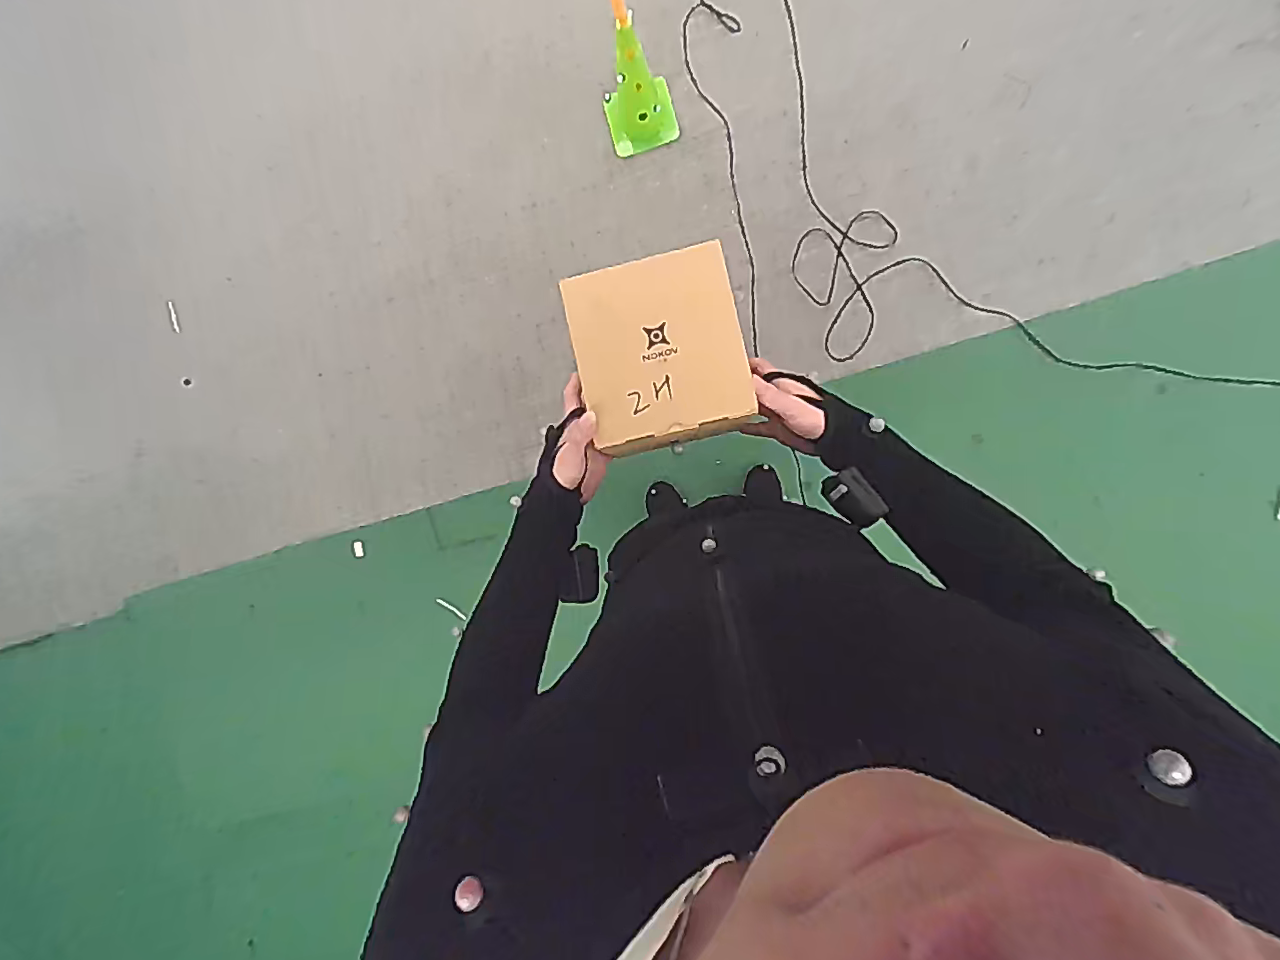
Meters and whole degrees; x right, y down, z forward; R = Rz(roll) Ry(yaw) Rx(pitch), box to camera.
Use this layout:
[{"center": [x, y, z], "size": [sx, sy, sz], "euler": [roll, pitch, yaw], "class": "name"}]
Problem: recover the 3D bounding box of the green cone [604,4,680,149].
[{"center": [-0.012, -1.117, 1.467], "size": [0.202, 0.368, 0.200], "euler": [-15, 90, 6], "class": "green cone"}]
